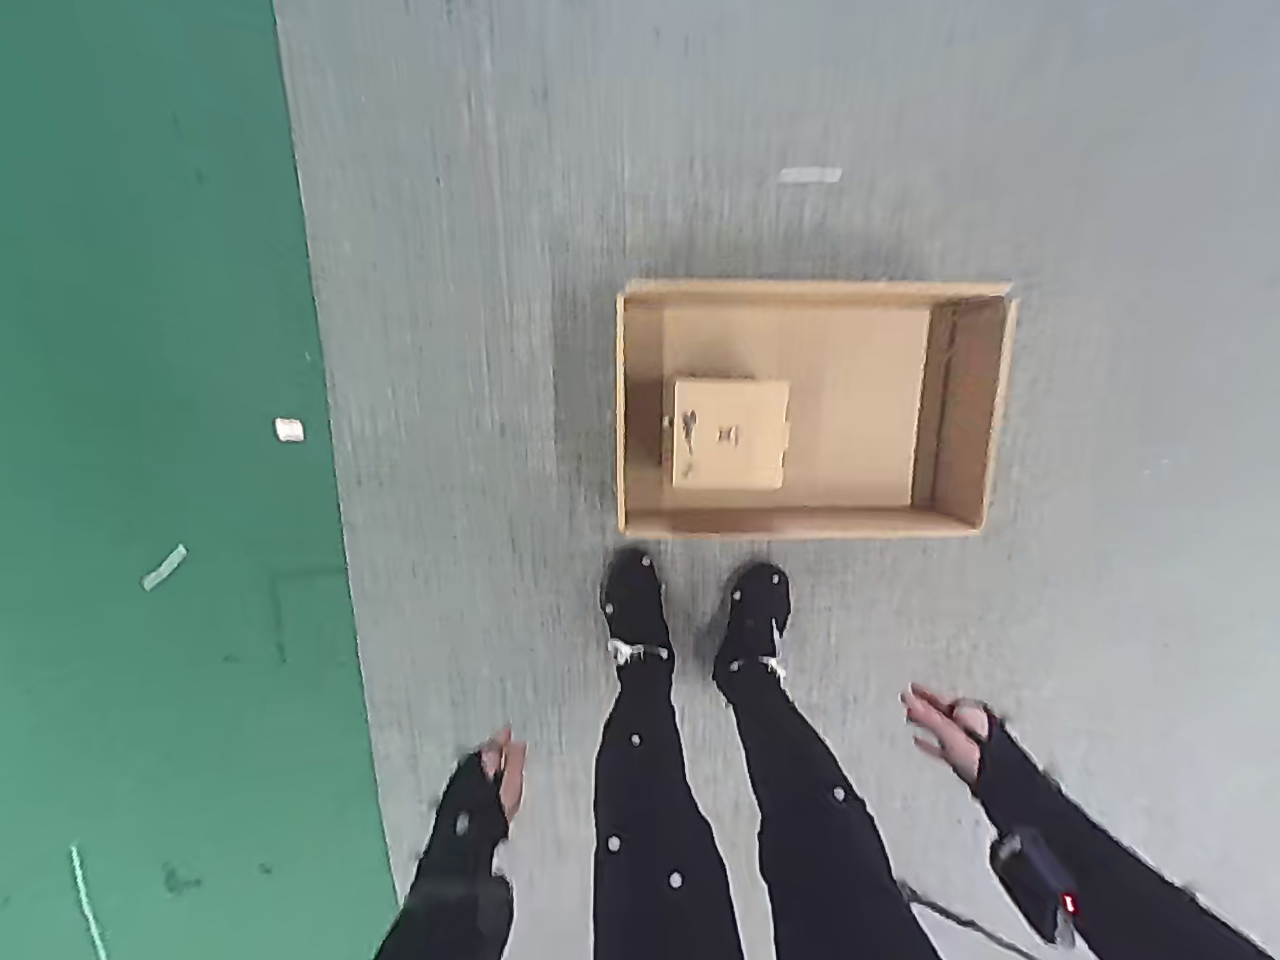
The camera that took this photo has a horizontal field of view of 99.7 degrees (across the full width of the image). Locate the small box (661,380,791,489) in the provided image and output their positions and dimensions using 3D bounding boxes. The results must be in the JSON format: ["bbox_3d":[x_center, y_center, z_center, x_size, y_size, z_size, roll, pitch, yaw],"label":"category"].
[{"bbox_3d":[0.134,-0.081,0.898,0.179,0.176,0.168,0,100,-4],"label":"small box"}]
